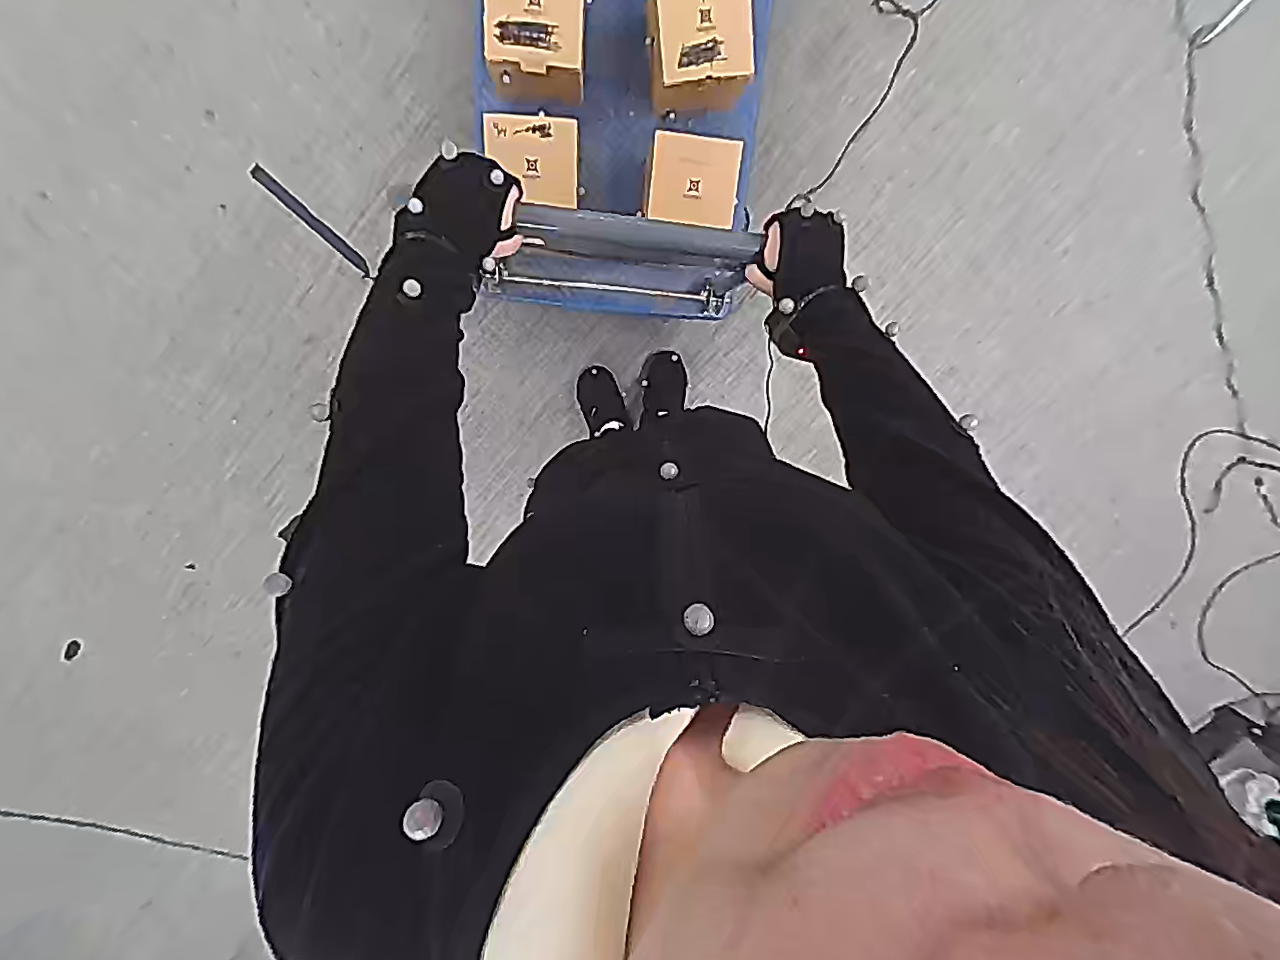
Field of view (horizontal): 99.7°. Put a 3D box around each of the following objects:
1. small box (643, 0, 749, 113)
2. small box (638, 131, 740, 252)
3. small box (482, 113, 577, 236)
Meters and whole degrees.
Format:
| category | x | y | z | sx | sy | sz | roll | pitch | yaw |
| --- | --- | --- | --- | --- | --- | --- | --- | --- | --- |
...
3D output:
| category | x | y | z | sx | sy | sz | roll | pitch | yaw |
| --- | --- | --- | --- | --- | --- | --- | --- | --- | --- |
| small box | 0.100 | -0.814 | 1.014 | 0.168 | 0.176 | 0.179 | -7 | 107 | -4 |
| small box | 0.089 | -0.566 | 1.088 | 0.168 | 0.176 | 0.179 | 4 | 105 | -7 |
| small box | -0.207 | -0.582 | 1.054 | 0.168 | 0.176 | 0.179 | 1 | 107 | -7 |
